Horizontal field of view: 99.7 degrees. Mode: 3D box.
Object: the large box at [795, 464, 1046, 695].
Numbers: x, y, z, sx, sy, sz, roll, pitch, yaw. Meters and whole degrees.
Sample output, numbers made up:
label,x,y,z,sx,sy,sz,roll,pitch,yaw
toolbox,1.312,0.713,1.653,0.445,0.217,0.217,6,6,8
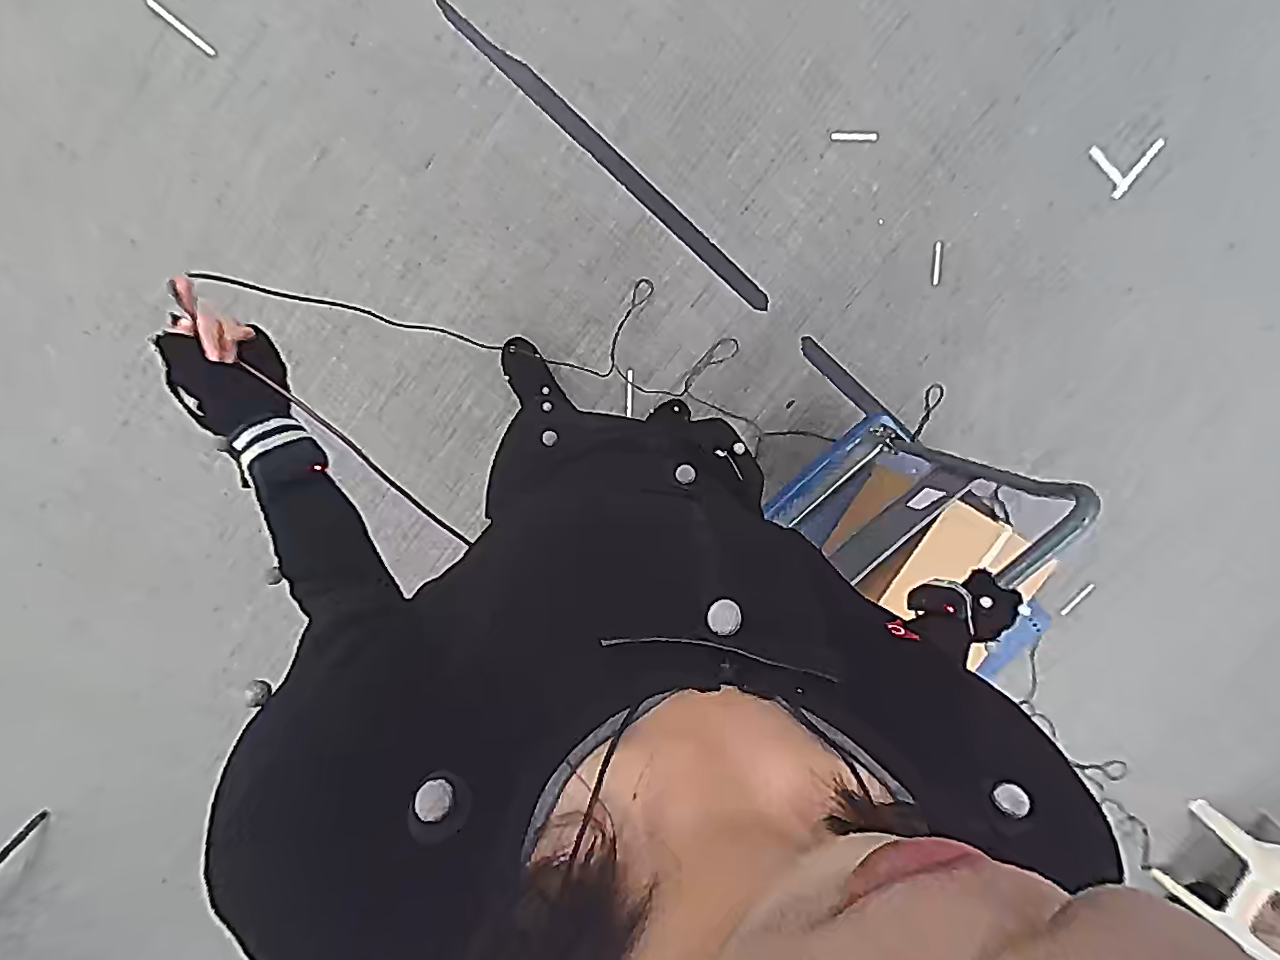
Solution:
label,x,y,z,sx,sy,sz,roll,pitch,yaw
large box,0.660,0.228,1.338,0.320,0.320,0.408,28,102,-11
